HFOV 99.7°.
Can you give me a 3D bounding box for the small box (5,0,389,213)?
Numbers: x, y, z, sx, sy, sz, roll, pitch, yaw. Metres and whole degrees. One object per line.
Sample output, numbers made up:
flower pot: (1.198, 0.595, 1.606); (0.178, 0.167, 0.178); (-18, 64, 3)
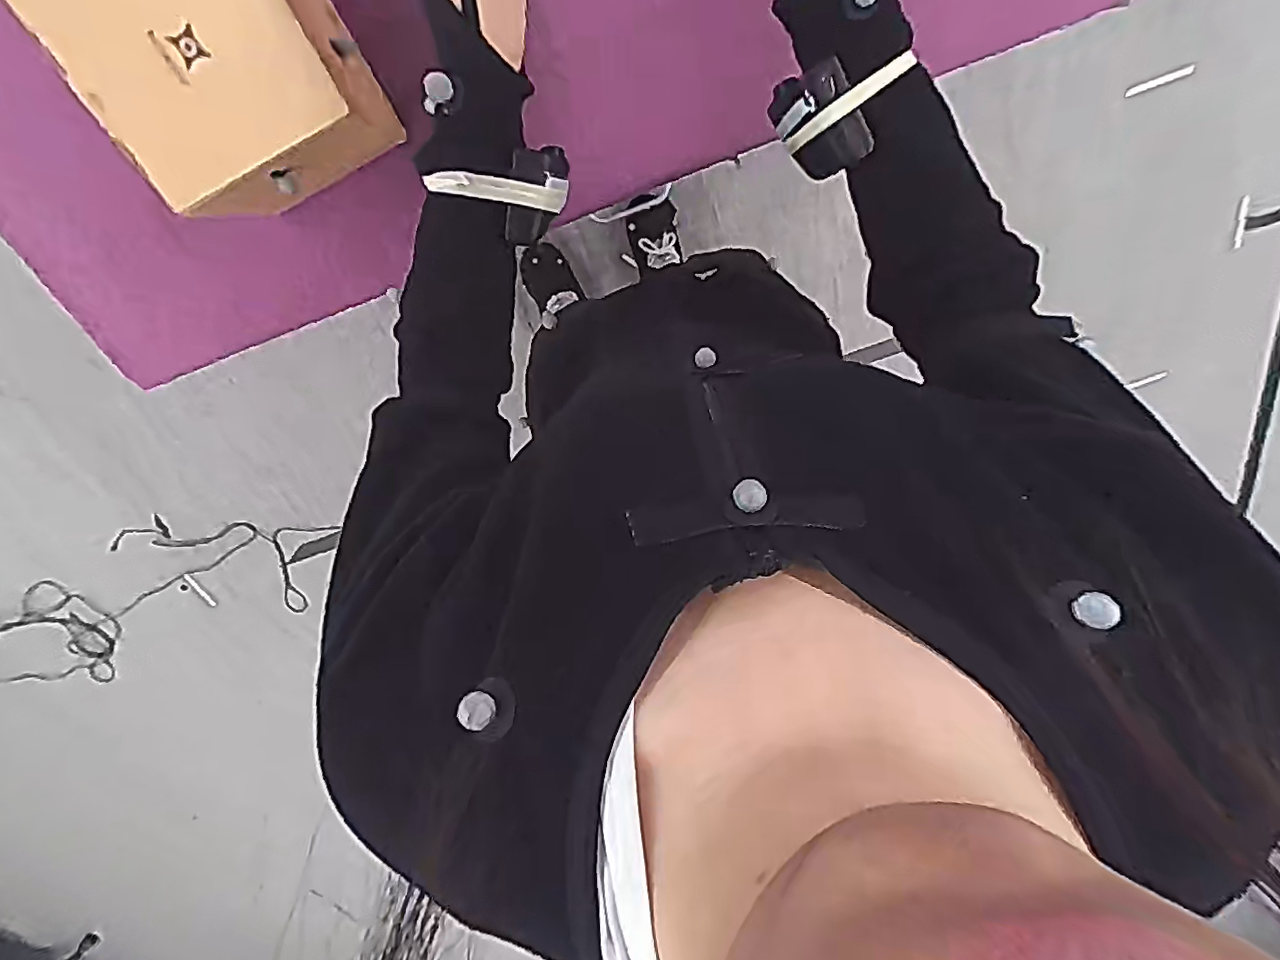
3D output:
small box: (-0.349, -0.358, 0.473); (0.179, 0.176, 0.168); (-25, 117, 7)
